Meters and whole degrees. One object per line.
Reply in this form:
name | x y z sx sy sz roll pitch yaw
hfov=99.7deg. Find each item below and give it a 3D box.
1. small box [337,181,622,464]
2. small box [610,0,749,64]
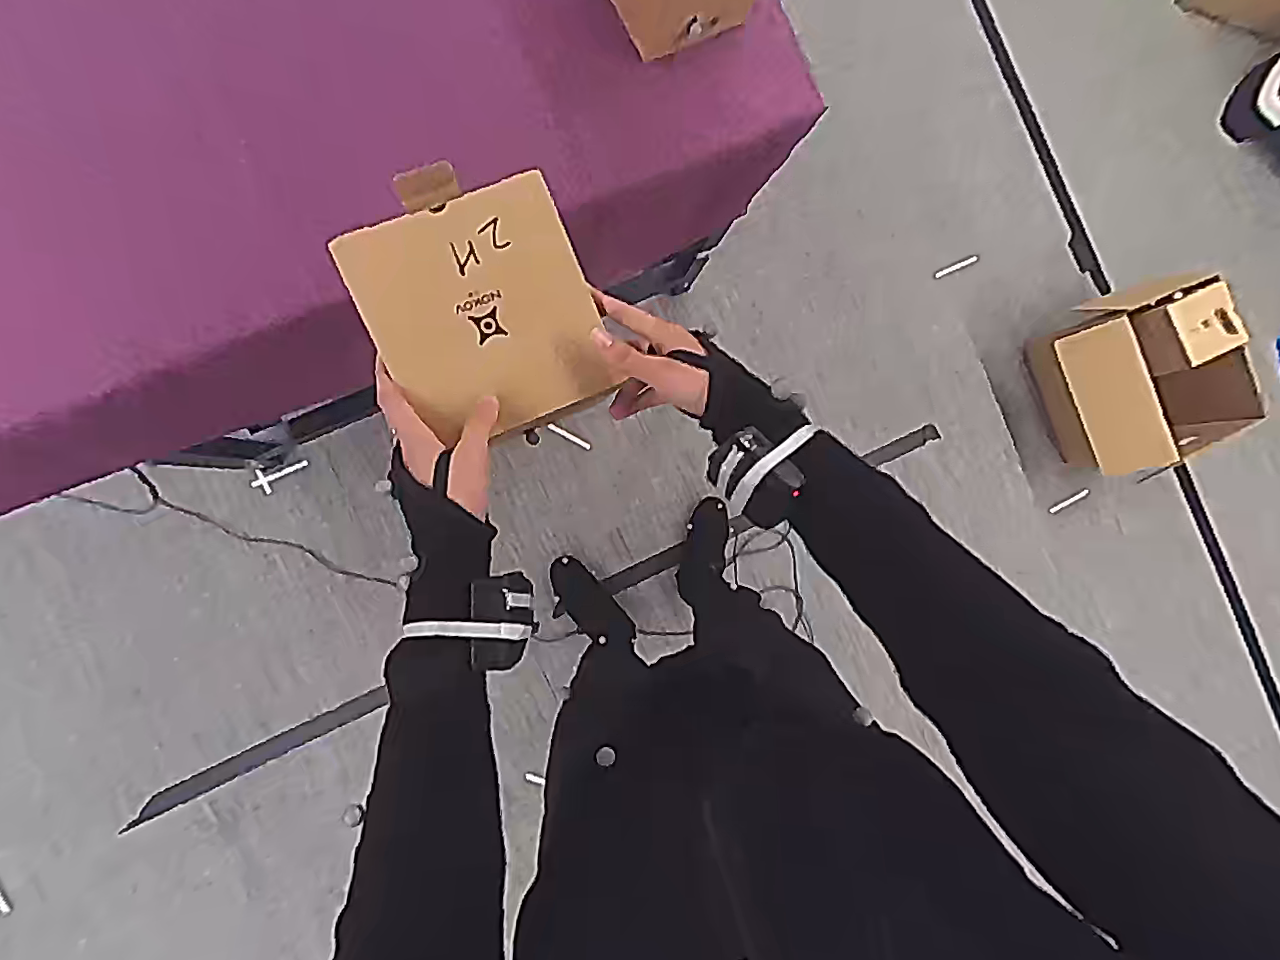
small box | -0.131 -0.126 0.495 0.168 0.176 0.179 -24 96 -8
small box | 0.042 -0.673 0.659 0.168 0.176 0.179 -29 93 -7
